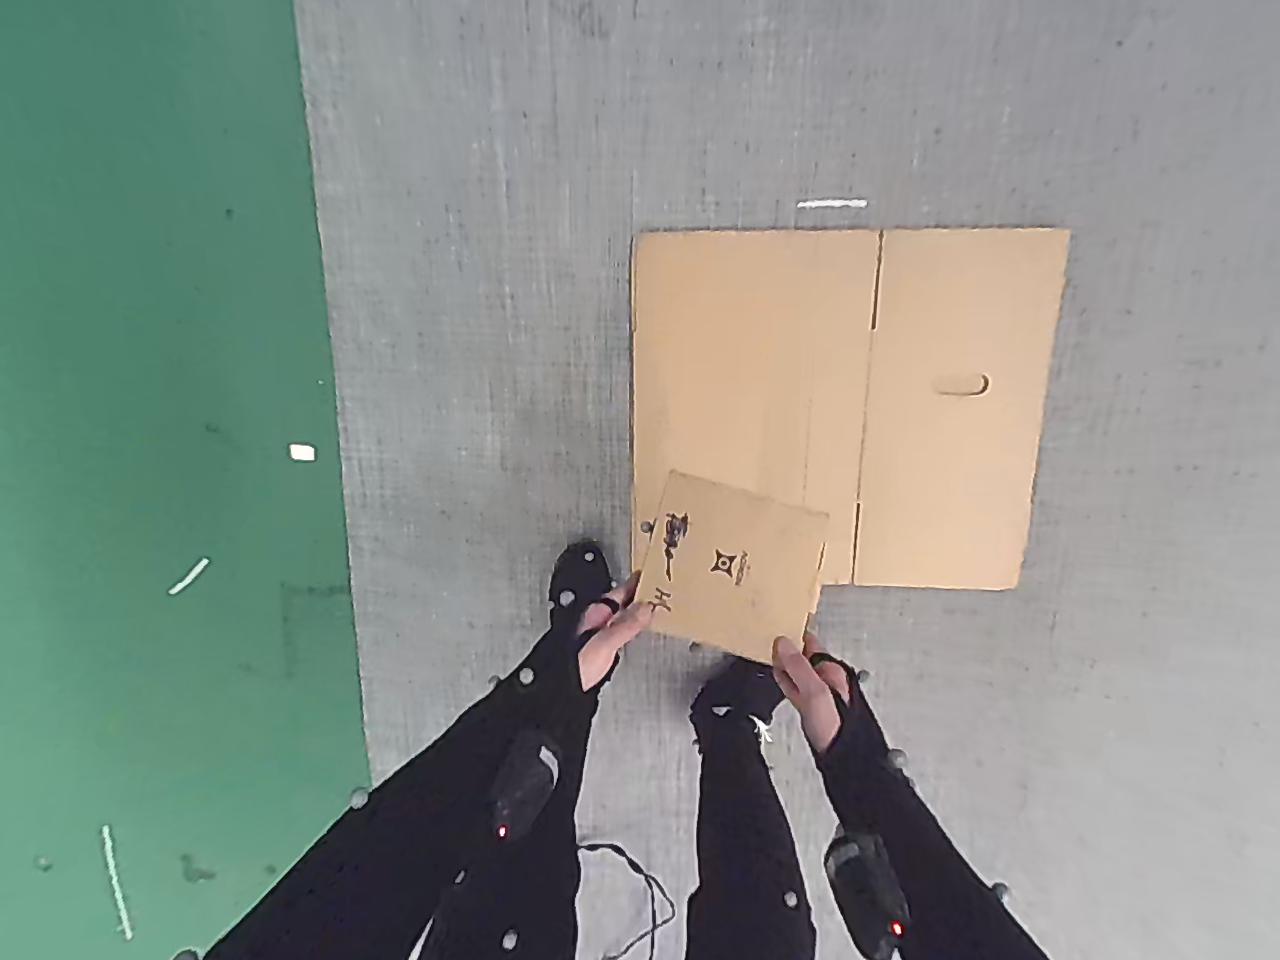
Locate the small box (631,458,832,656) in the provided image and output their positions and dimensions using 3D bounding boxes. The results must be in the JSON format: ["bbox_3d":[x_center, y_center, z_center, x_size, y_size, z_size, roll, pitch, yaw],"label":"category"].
[{"bbox_3d":[0.095,0.091,0.634,0.179,0.176,0.168,17,78,2],"label":"small box"}]
